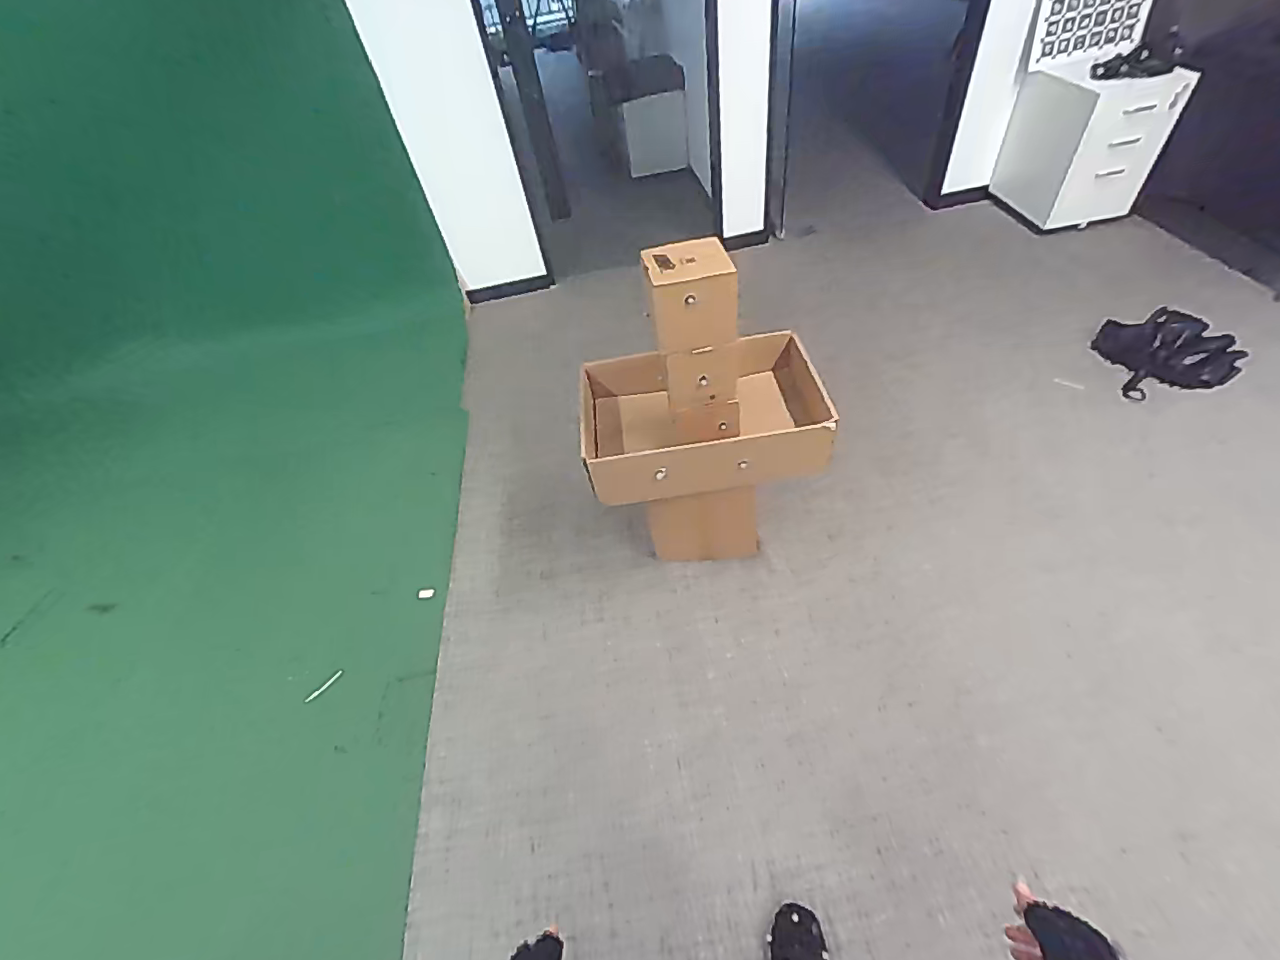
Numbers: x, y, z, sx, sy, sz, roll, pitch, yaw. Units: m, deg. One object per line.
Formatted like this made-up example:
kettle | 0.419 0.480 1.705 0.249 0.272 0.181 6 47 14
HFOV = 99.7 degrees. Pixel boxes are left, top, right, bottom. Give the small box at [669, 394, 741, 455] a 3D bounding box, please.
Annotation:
small box | 0.171 -0.182 1.442 0.168 0.176 0.179 -10 46 0

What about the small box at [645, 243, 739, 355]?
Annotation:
small box | 0.116 -0.397 1.199 0.179 0.176 0.168 -10 48 -1

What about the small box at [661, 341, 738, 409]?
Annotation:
small box | 0.143 -0.291 1.323 0.168 0.176 0.179 -10 48 0
